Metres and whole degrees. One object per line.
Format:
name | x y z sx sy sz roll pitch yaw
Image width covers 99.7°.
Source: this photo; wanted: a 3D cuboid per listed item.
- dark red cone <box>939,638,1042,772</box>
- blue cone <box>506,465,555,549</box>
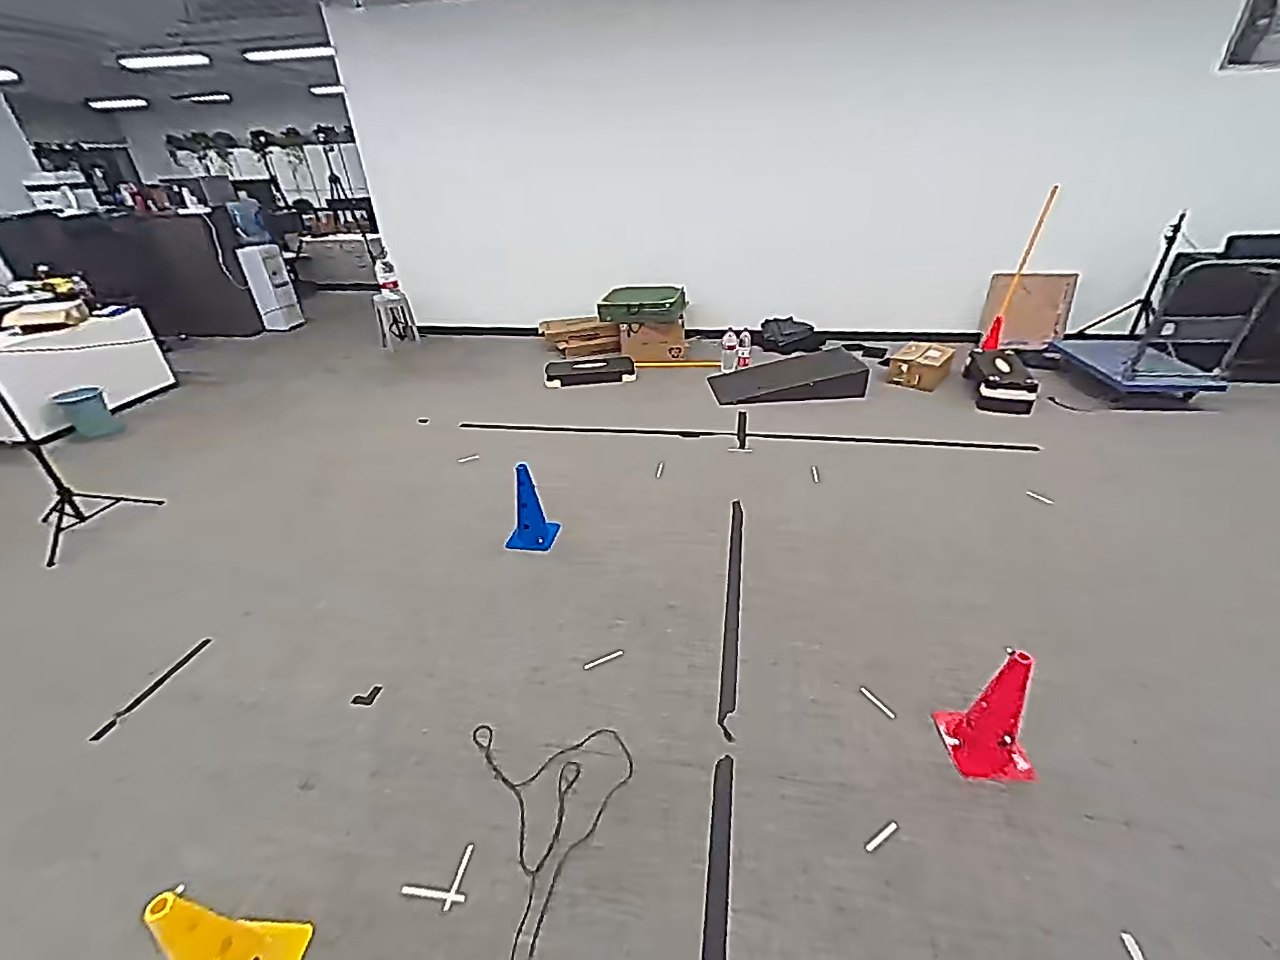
dark red cone | 0.942 0.558 1.397 0.201 0.394 0.202 -2 31 4
blue cone | -0.491 0.107 2.313 0.192 0.380 0.193 3 31 11
